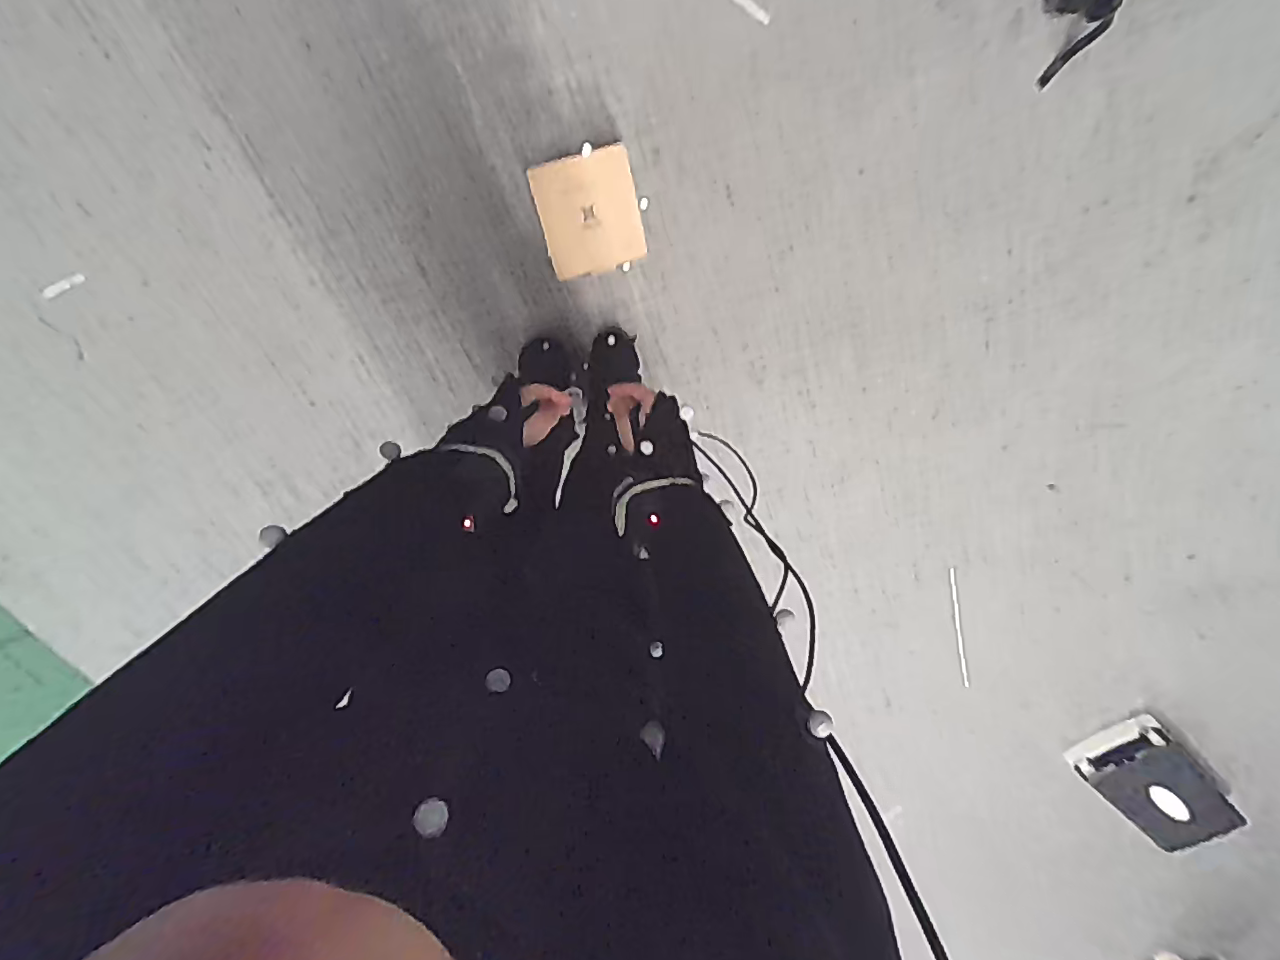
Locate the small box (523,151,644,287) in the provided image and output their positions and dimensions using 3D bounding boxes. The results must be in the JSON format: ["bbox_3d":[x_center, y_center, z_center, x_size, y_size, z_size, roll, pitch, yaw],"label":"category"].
[{"bbox_3d":[-0.089,-0.463,0.960,0.168,0.176,0.179,-13,117,5],"label":"small box"}]
